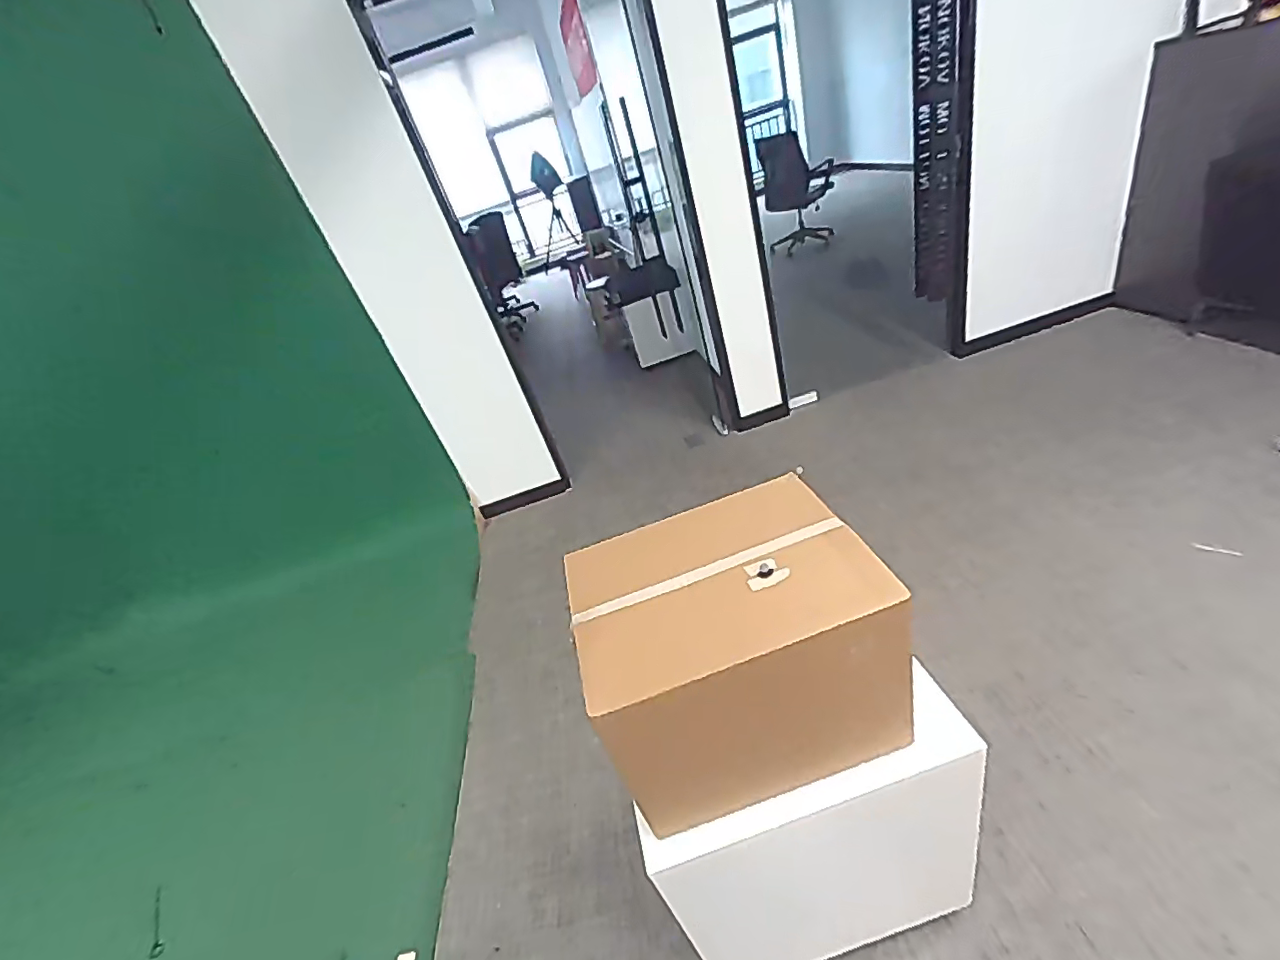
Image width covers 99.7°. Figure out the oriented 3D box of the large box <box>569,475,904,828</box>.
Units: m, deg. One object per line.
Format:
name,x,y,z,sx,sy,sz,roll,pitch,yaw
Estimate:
large box,0.138,0.249,0.840,0.408,0.320,0.320,-19,32,-3
